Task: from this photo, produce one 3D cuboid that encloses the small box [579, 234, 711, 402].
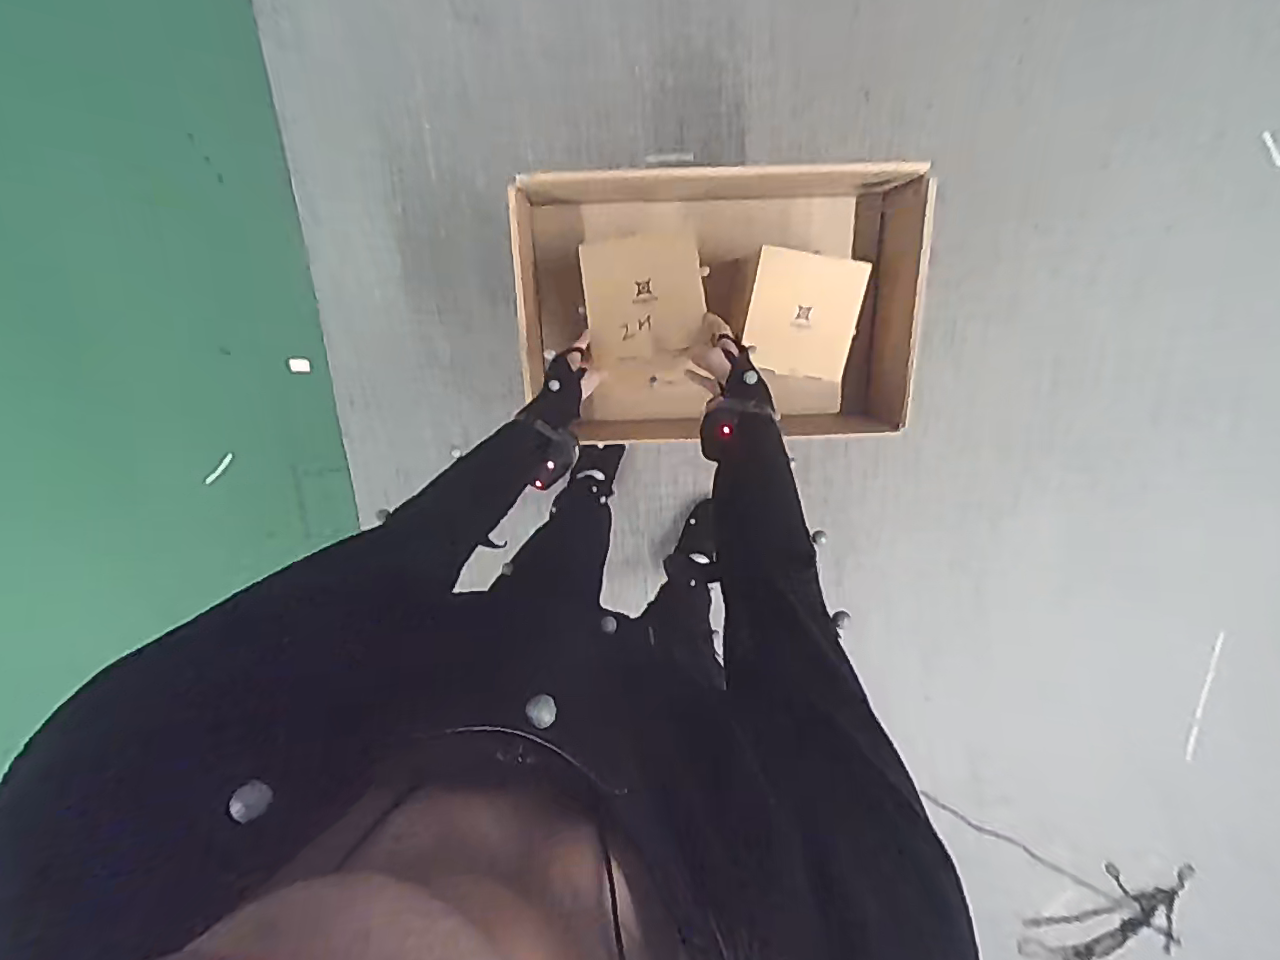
[{"bbox_3d":[0.010,-0.234,0.819,0.168,0.176,0.179,-9,82,3],"label":"small box"}]
